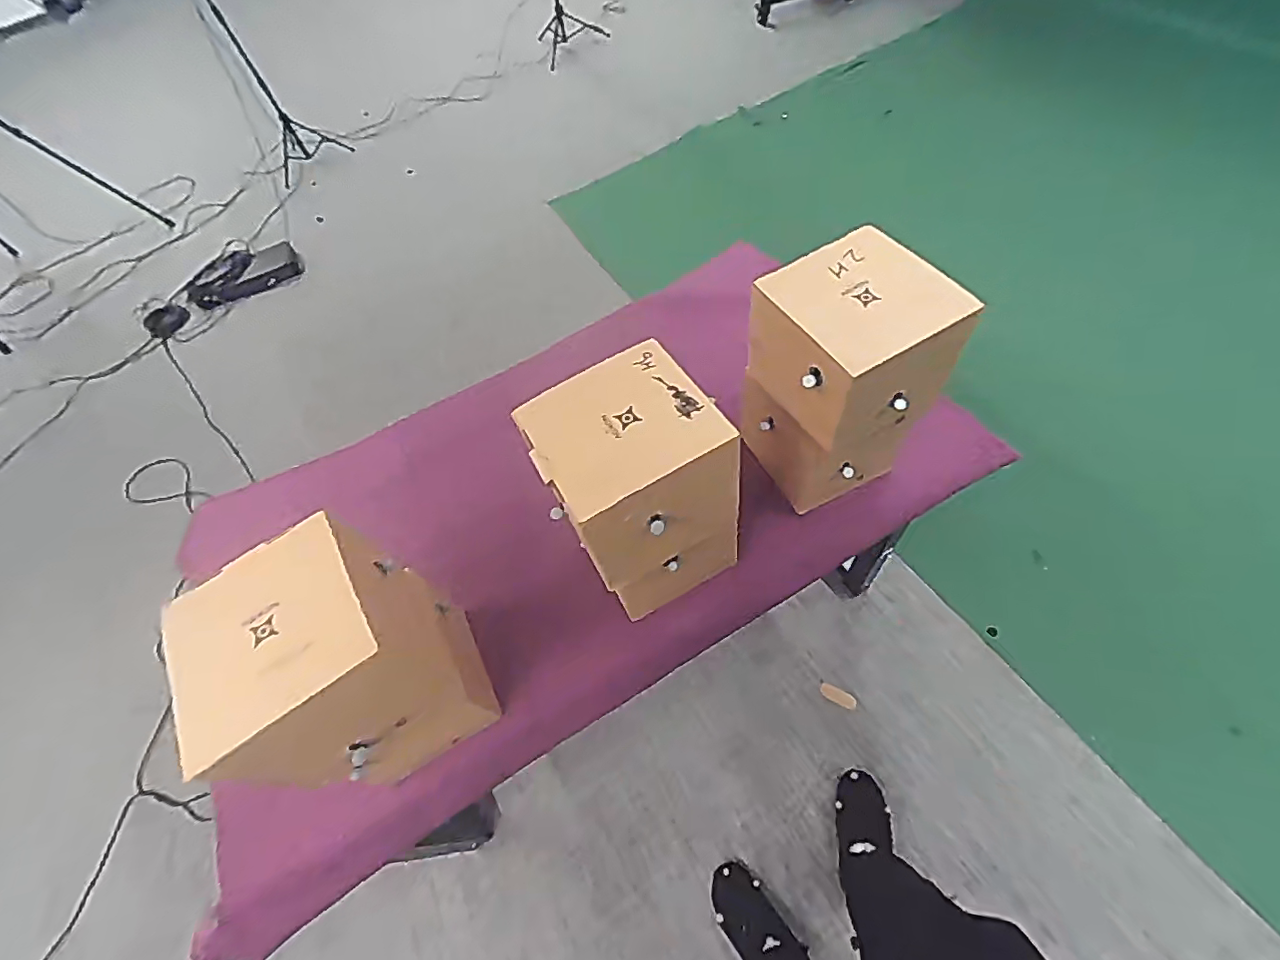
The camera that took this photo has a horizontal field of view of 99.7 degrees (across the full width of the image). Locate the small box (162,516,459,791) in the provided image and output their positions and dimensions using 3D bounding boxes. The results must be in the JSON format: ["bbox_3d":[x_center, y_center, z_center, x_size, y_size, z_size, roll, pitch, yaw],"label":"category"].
[{"bbox_3d":[-0.310,0.175,0.530,0.168,0.176,0.179,-34,58,-12],"label":"small box"}]

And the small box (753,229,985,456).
[{"bbox_3d":[0.250,-0.151,0.642,0.168,0.176,0.179,-28,58,-8],"label":"small box"}]

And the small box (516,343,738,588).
[{"bbox_3d":[-0.005,-0.009,0.596,0.179,0.176,0.168,-30,58,-8],"label":"small box"}]

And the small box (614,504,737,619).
[{"bbox_3d":[0.019,0.063,0.742,0.179,0.176,0.168,-28,58,-9],"label":"small box"}]

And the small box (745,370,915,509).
[{"bbox_3d":[0.268,-0.079,0.791,0.168,0.176,0.179,-25,58,-6],"label":"small box"}]
